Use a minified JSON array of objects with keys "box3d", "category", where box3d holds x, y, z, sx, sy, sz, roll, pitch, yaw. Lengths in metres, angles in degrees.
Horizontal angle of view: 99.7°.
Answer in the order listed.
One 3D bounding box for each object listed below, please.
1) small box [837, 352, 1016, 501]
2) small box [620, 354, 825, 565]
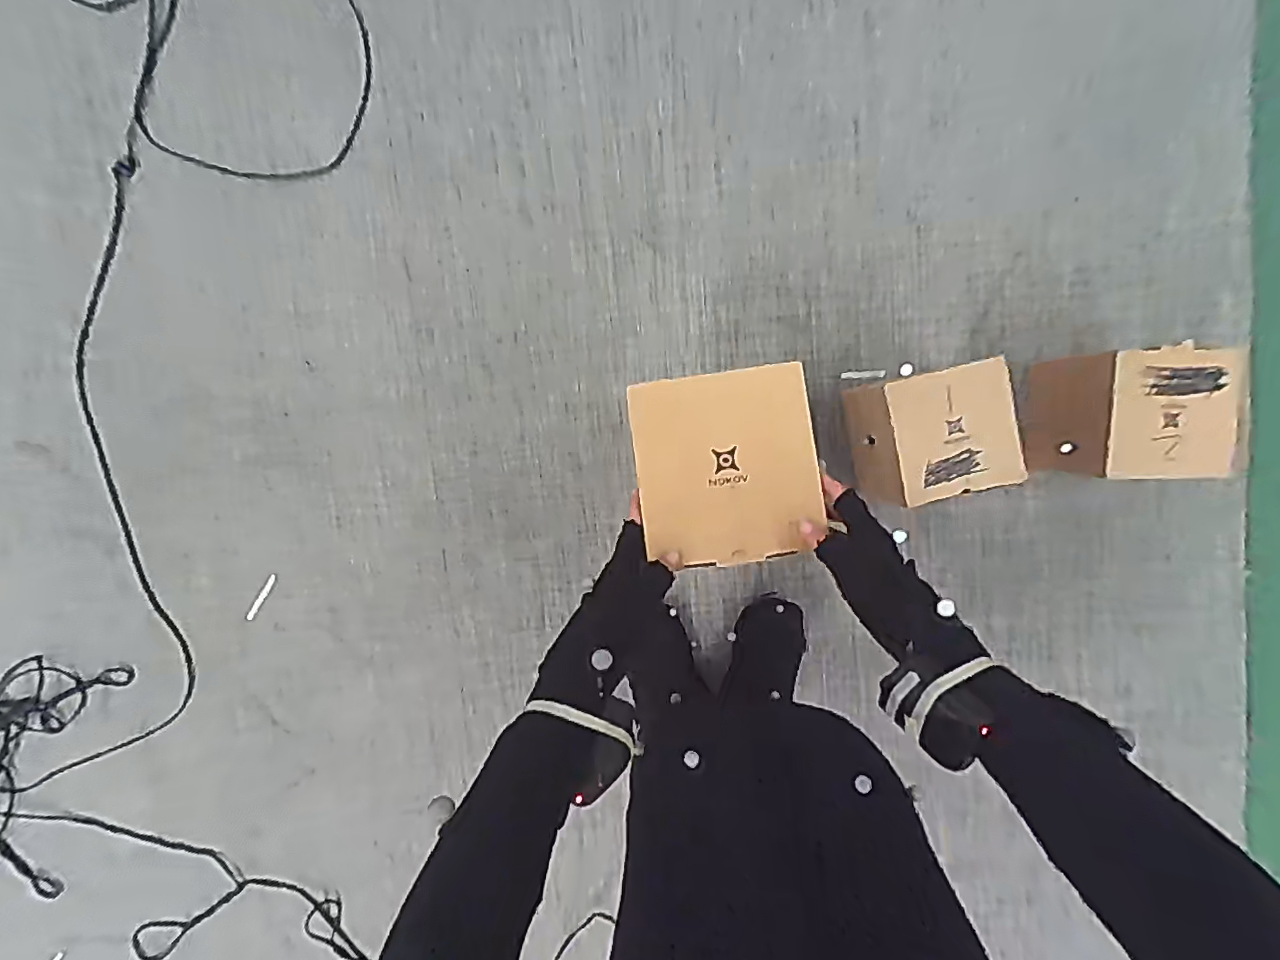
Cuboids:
[{"box3d":[0.415,-0.080,0.810,0.168,0.176,0.179,-13,95,2],"category":"small box"},{"box3d":[0.074,-0.012,0.562,0.168,0.176,0.179,-8,85,2],"category":"small box"}]
